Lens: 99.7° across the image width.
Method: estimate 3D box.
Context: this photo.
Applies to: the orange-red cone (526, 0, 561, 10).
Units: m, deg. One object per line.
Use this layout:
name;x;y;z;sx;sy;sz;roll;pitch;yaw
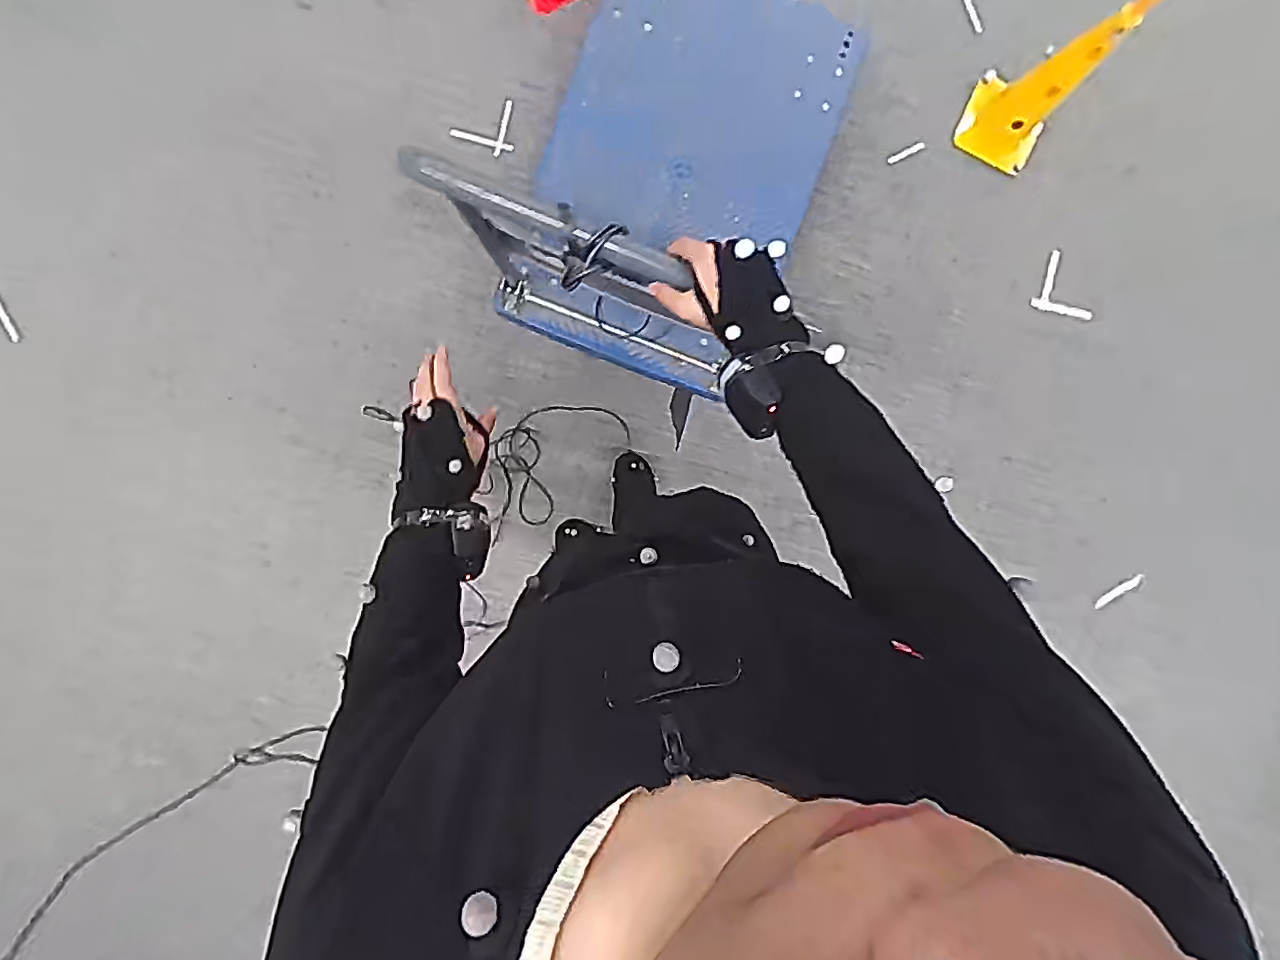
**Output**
orange-red cone;-0.199;-1.240;1.120;0.199;0.360;0.198;-30;95;-3
